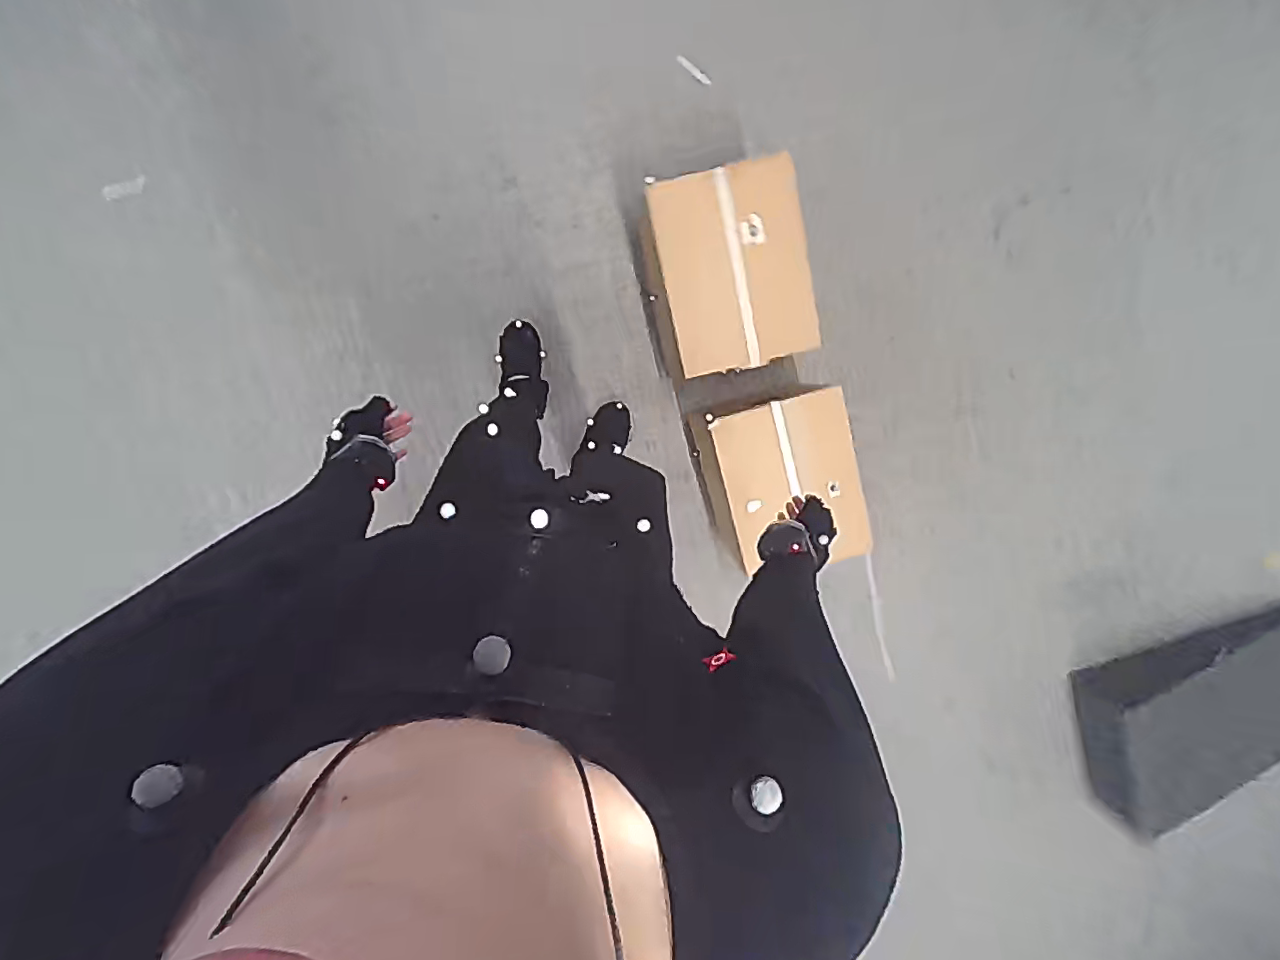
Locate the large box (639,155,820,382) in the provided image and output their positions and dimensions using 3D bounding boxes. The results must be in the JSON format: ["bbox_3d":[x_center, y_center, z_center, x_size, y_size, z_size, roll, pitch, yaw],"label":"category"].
[{"bbox_3d":[0.192,-0.464,1.279,0.320,0.320,0.408,-12,100,-2],"label":"large box"}]
